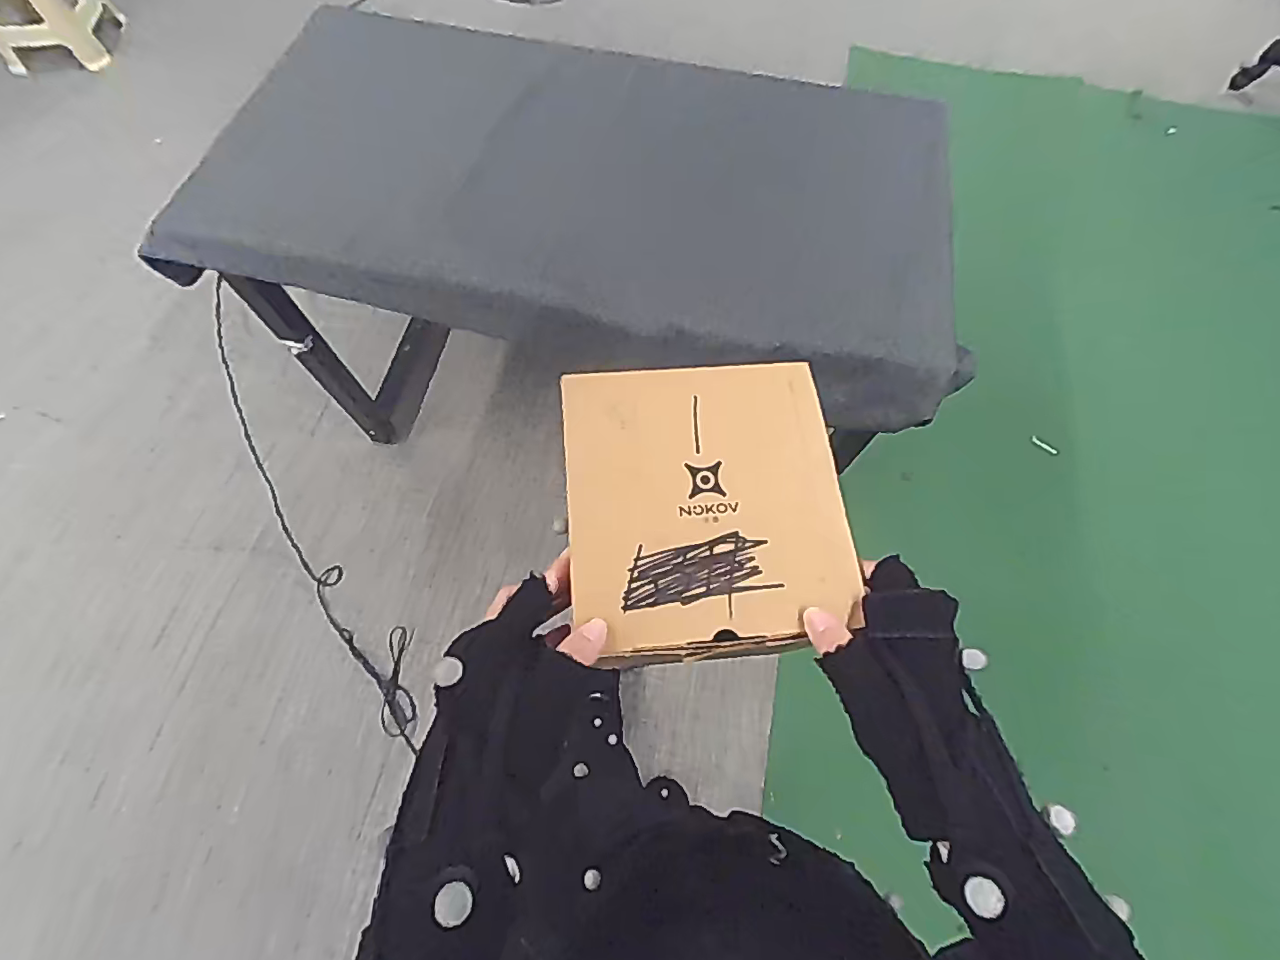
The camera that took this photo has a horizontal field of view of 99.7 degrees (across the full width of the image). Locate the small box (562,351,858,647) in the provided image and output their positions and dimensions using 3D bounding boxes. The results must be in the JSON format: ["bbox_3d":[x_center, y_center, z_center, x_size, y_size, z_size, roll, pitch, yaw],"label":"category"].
[{"bbox_3d":[0.034,0.028,0.404,0.168,0.176,0.179,-4,69,-4],"label":"small box"}]
